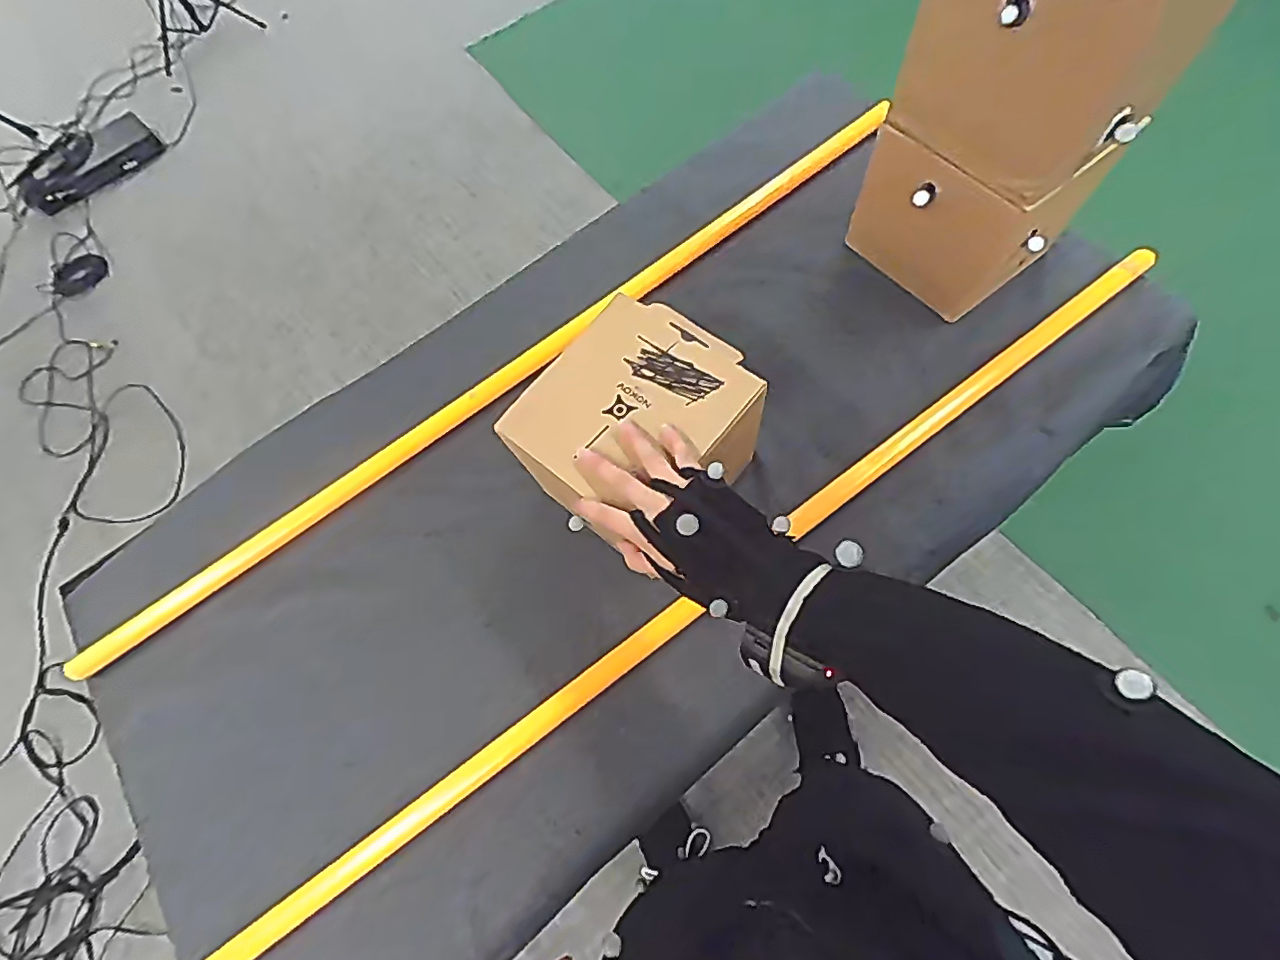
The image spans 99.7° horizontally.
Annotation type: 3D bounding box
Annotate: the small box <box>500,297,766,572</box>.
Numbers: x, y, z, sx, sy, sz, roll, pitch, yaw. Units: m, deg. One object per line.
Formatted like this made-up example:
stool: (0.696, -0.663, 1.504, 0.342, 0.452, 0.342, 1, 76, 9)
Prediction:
small box: (0.000, -0.035, 0.536, 0.168, 0.176, 0.179, 37, 78, 19)

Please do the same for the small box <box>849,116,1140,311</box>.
small box: (0.368, -0.318, 0.602, 0.168, 0.176, 0.179, -37, 68, -7)

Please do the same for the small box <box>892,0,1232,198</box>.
small box: (0.350, -0.382, 0.454, 0.168, 0.176, 0.179, -39, 69, -7)
